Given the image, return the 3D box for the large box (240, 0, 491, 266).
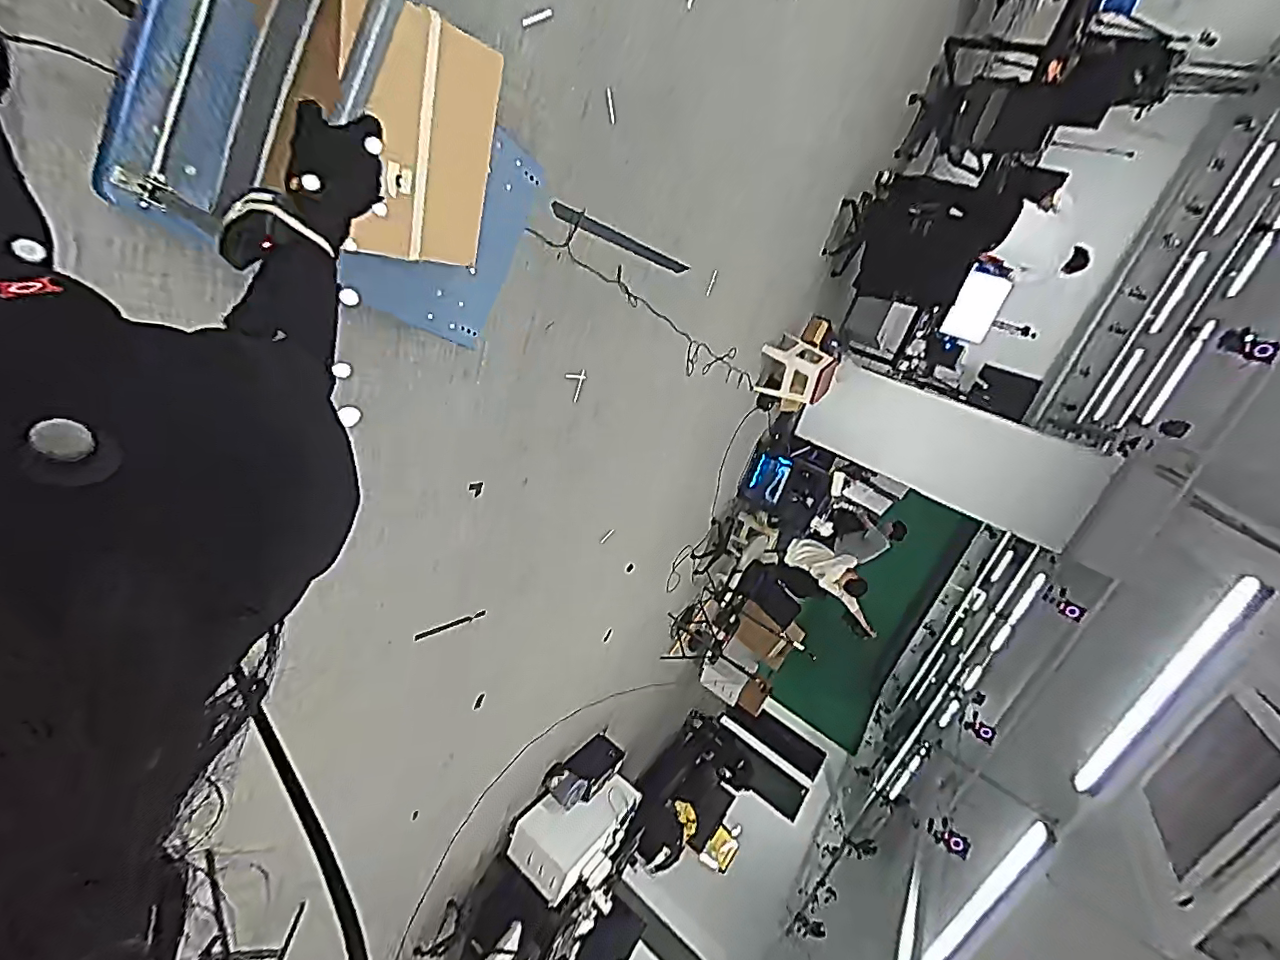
[{"bbox_3d":[-0.540,-0.686,1.064,0.320,0.320,0.408,-18,132,-53],"label":"large box"}]
